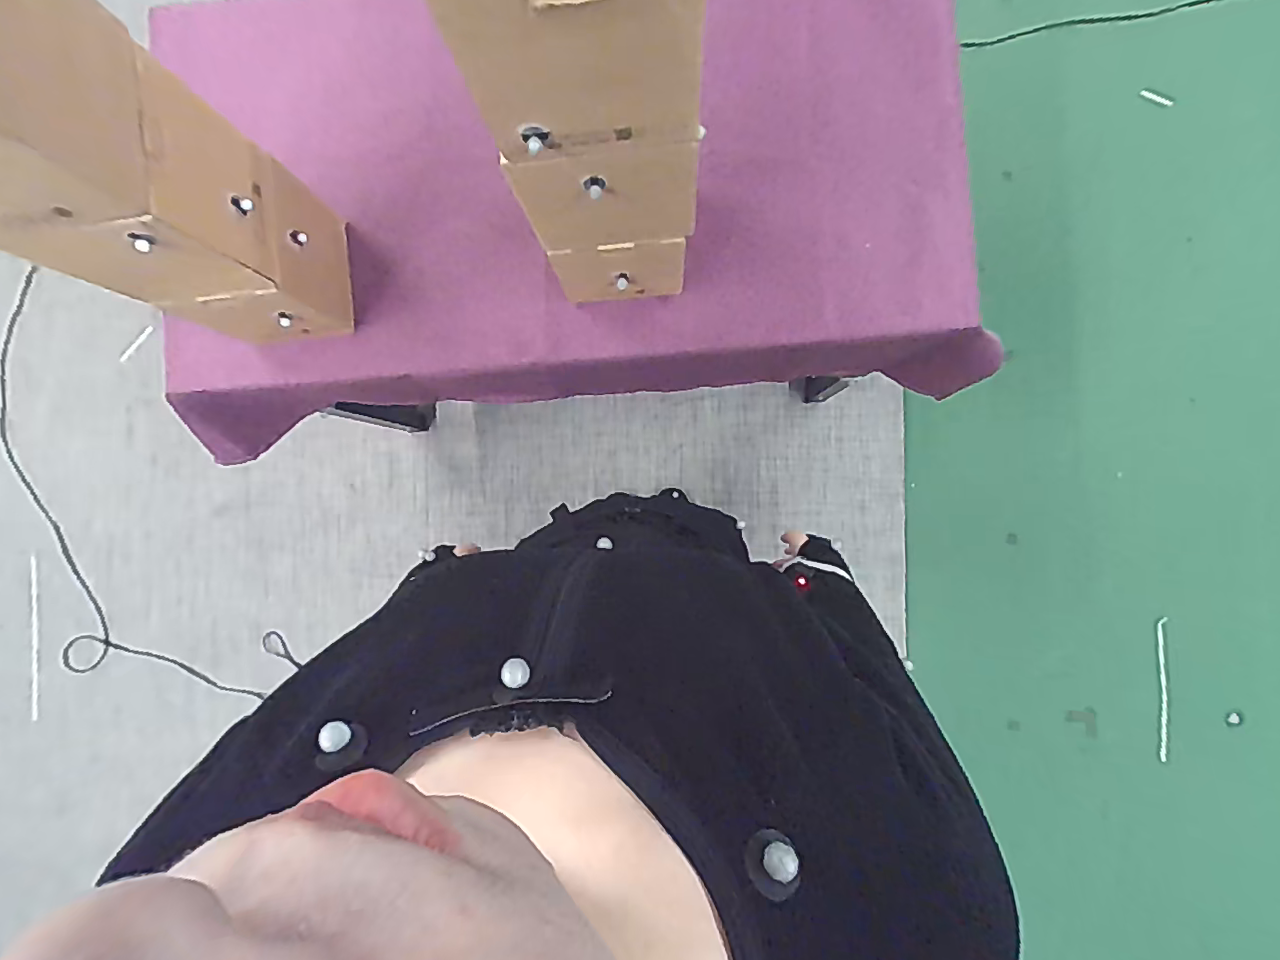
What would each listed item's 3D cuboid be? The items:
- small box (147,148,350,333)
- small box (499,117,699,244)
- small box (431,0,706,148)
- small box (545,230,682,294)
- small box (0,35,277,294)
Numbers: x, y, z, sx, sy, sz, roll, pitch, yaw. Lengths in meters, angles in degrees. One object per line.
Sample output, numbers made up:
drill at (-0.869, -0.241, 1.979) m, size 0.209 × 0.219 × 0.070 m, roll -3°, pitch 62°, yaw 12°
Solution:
small box at (-0.518, -0.307, 0.731) m, size 0.168 × 0.176 × 0.179 m, roll -5°, pitch 88°, yaw 1°
small box at (-0.035, -0.357, 0.546) m, size 0.179 × 0.176 × 0.168 m, roll -4°, pitch 89°, yaw 2°
small box at (-0.041, -0.365, 0.382) m, size 0.168 × 0.176 × 0.179 m, roll -4°, pitch 88°, yaw 2°
small box at (-0.030, -0.356, 0.711) m, size 0.168 × 0.176 × 0.179 m, roll -3°, pitch 89°, yaw 2°
small box at (-0.528, -0.310, 0.569) m, size 0.179 × 0.176 × 0.168 m, roll -7°, pitch 89°, yaw 1°
